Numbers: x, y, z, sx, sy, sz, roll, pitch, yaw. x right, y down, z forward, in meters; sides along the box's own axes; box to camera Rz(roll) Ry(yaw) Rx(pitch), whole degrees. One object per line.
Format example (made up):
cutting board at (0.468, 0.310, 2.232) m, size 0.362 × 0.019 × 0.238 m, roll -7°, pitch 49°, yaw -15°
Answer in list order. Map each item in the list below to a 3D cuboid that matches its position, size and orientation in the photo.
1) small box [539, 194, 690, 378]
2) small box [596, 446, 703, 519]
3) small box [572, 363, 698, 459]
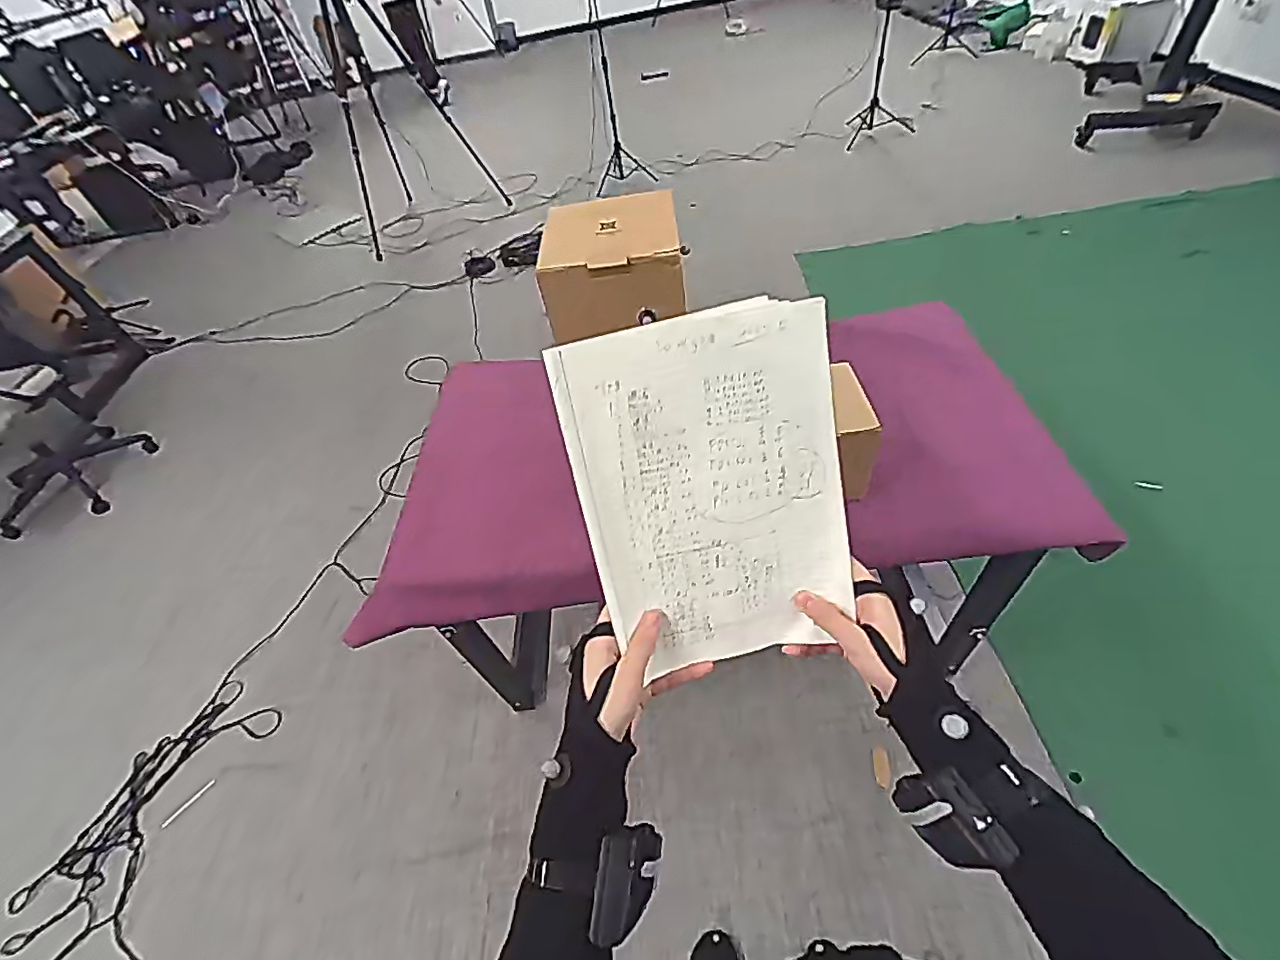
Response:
small box at (-0.024, -0.249, 0.720) m, size 0.168 × 0.176 × 0.179 m, roll -5°, pitch 48°, yaw 5°
small box at (0.021, -0.043, 0.971) m, size 0.168 × 0.176 × 0.179 m, roll -6°, pitch 49°, yaw 5°
small box at (-0.002, -0.146, 0.845) m, size 0.168 × 0.176 × 0.179 m, roll -6°, pitch 47°, yaw 5°
